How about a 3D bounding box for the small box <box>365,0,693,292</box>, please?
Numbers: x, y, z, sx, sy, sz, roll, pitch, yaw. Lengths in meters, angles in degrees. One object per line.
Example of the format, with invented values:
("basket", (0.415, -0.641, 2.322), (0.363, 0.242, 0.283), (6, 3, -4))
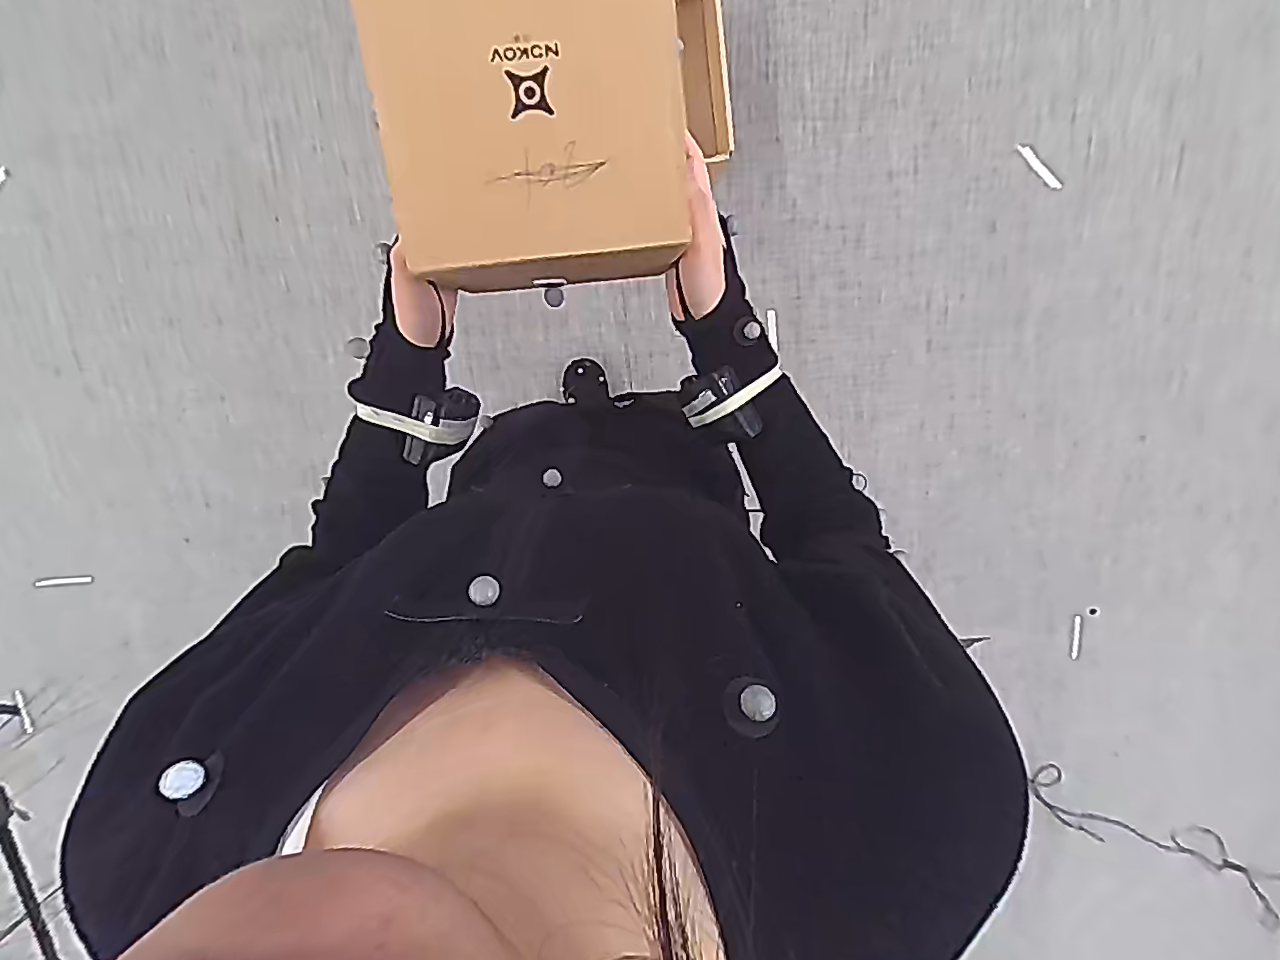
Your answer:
("small box", (-0.063, -0.233, 0.368), (0.168, 0.176, 0.179), (-6, 105, -2))
